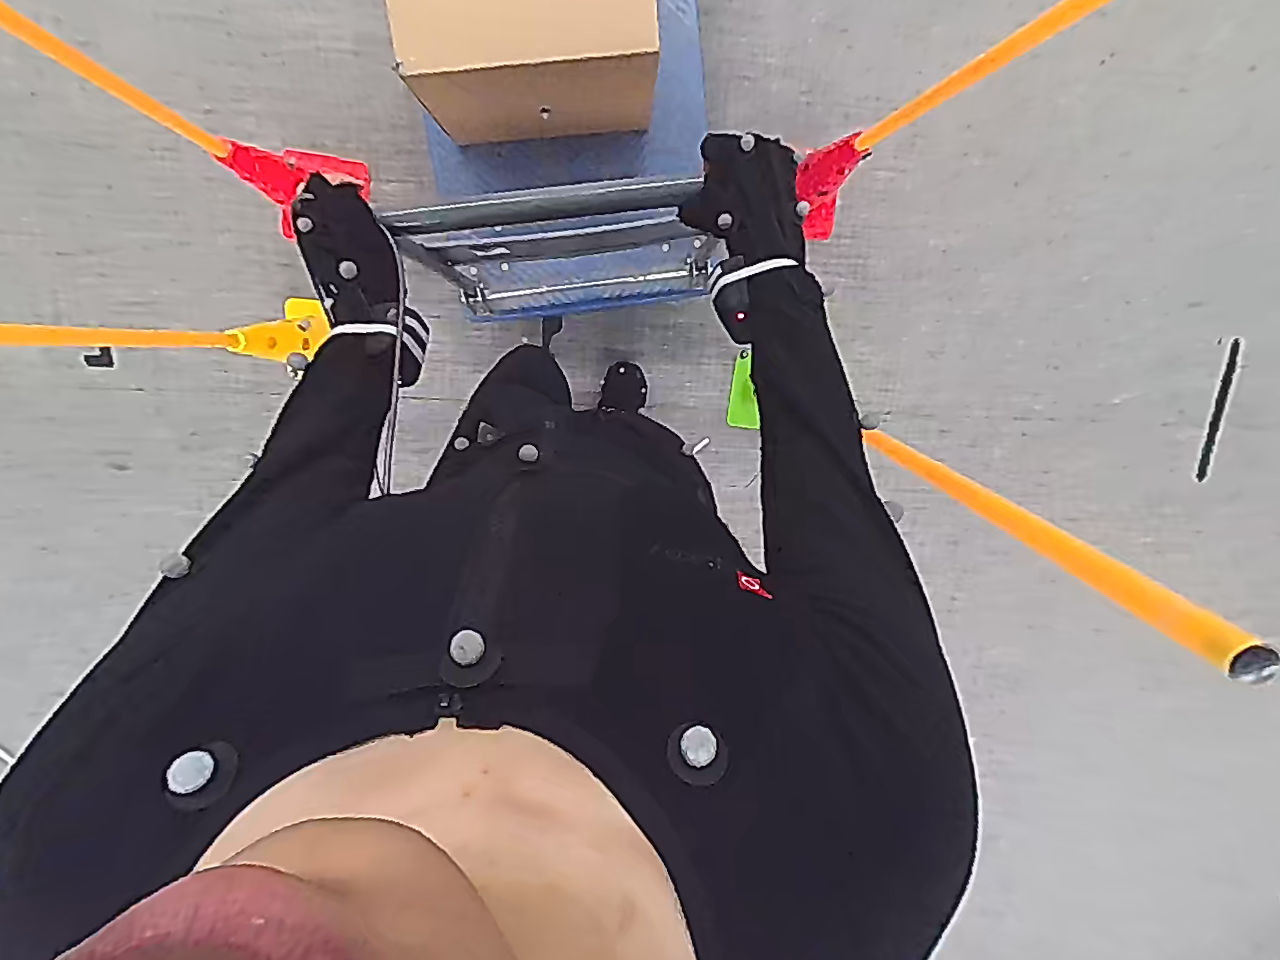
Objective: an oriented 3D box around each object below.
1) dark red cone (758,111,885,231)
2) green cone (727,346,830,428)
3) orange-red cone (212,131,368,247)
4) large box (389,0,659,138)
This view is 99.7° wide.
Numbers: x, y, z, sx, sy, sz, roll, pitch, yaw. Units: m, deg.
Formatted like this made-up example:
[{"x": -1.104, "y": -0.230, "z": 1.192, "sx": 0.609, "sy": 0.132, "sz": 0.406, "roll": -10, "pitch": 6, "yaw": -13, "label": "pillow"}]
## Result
[{"x": 0.394, "y": -0.666, "z": 1.131, "sx": 0.201, "sy": 0.394, "sz": 0.202, "roll": 2, "pitch": 104, "yaw": -5, "label": "dark red cone"}, {"x": 0.348, "y": -0.201, "z": 1.263, "sx": 0.202, "sy": 0.368, "sz": 0.200, "roll": 6, "pitch": 104, "yaw": -5, "label": "green cone"}, {"x": -0.739, "y": -0.631, "z": 1.111, "sx": 0.198, "sy": 0.360, "sz": 0.199, "roll": 9, "pitch": 102, "yaw": -6, "label": "orange-red cone"}, {"x": -0.187, "y": -0.831, "z": 0.935, "sx": 0.408, "sy": 0.320, "sz": 0.320, "roll": -6, "pitch": 105, "yaw": 0, "label": "large box"}]
